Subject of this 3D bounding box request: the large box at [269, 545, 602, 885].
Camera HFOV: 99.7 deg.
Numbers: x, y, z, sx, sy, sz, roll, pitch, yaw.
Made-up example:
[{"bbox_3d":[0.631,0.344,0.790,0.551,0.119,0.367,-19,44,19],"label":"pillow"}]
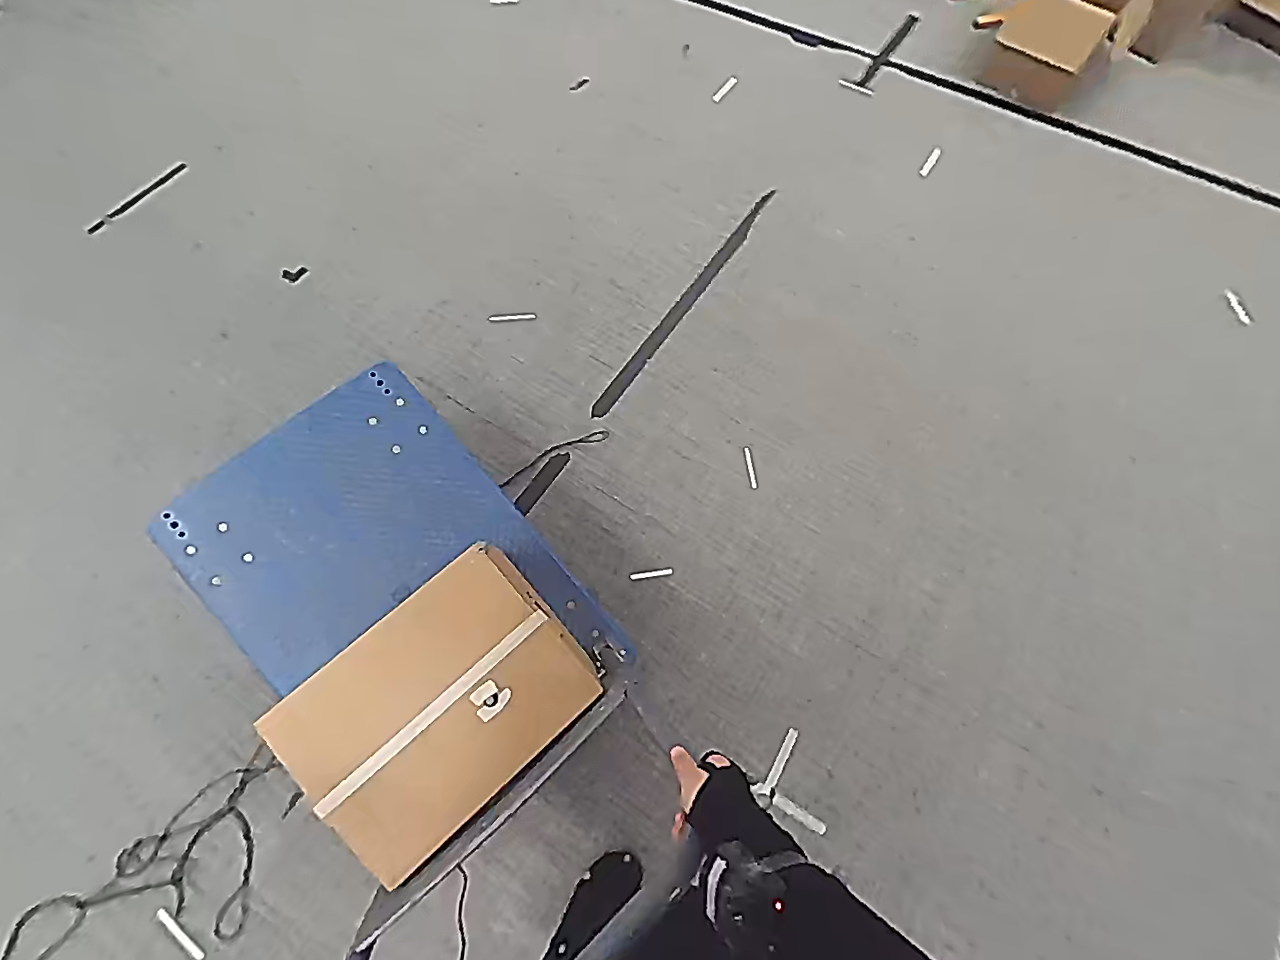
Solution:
[{"bbox_3d":[-0.324,0.374,0.970,0.408,0.320,0.320,-41,88,-14],"label":"large box"}]
